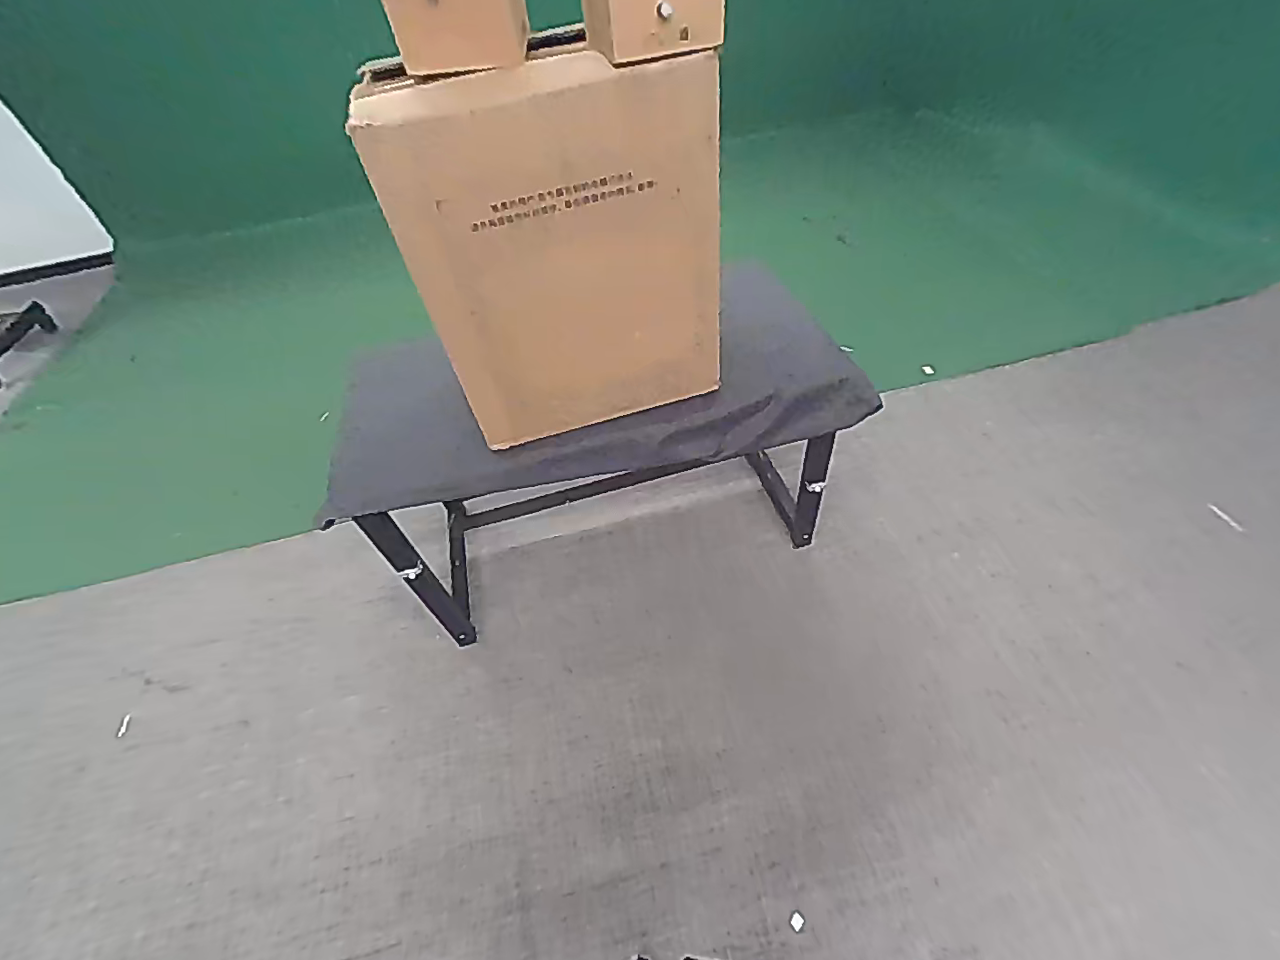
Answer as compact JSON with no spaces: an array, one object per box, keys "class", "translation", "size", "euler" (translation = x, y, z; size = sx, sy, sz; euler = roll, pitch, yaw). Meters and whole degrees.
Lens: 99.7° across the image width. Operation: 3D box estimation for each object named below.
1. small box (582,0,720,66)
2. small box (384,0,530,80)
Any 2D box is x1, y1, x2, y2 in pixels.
[{"class":"small box","translation":[0.008,-0.710,0.763],"size":[0.168,0.176,0.179],"euler":[-16,50,-7]},{"class":"small box","translation":[-0.271,-0.714,0.788],"size":[0.179,0.176,0.168],"euler":[-5,57,2]}]
